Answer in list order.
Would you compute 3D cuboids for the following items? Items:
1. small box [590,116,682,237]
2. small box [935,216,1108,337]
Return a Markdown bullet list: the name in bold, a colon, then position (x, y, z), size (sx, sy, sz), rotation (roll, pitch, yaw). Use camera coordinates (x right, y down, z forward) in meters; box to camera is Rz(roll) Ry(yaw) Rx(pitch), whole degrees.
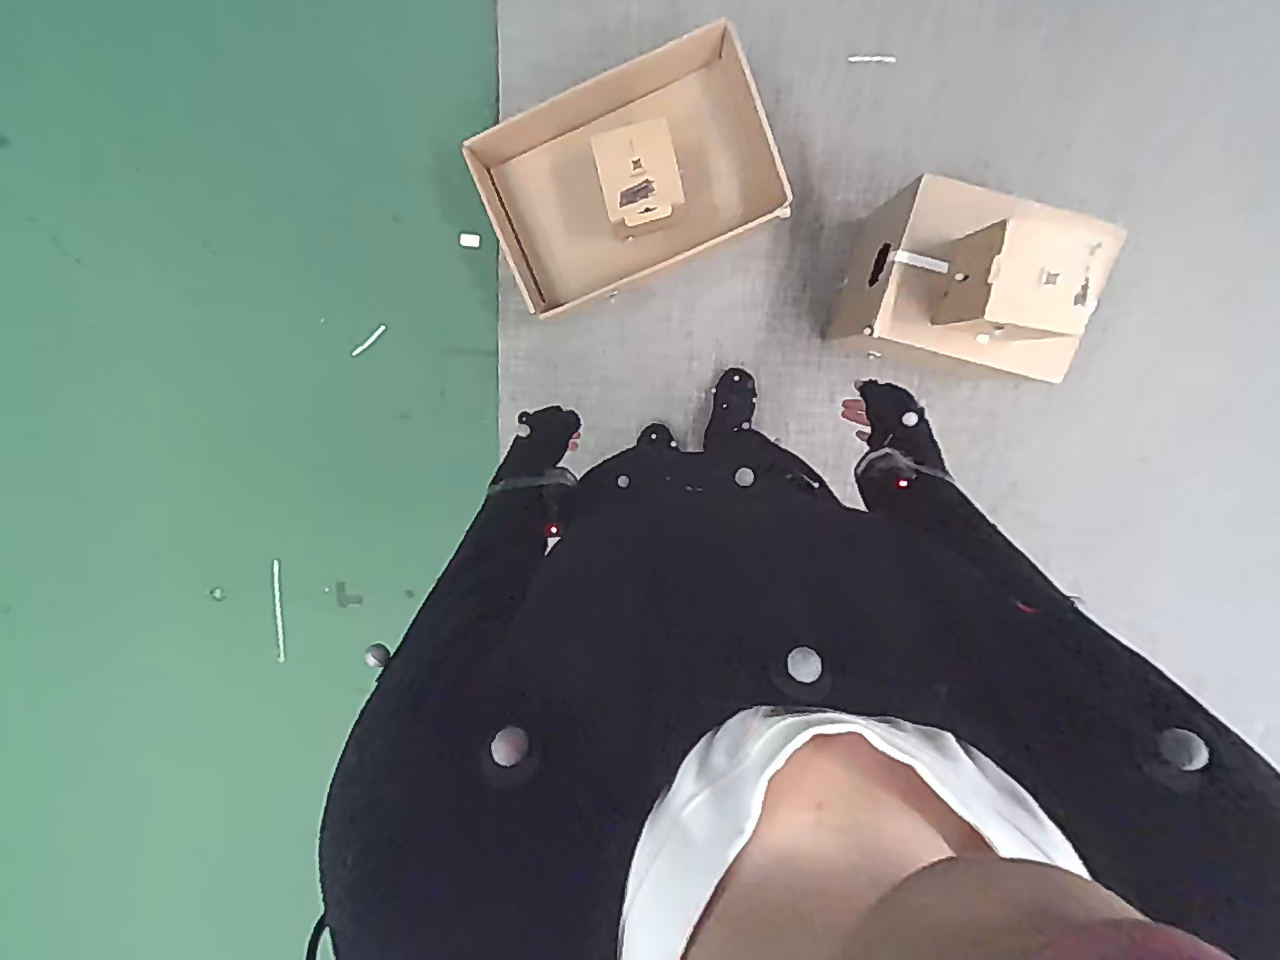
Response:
- **small box**: position (-0.002, -0.661, 1.207), size (0.168, 0.176, 0.179), rotation (-14, 99, 5)
- **small box**: position (0.669, -0.356, 0.974), size (0.179, 0.176, 0.168), rotation (9, 102, 1)
